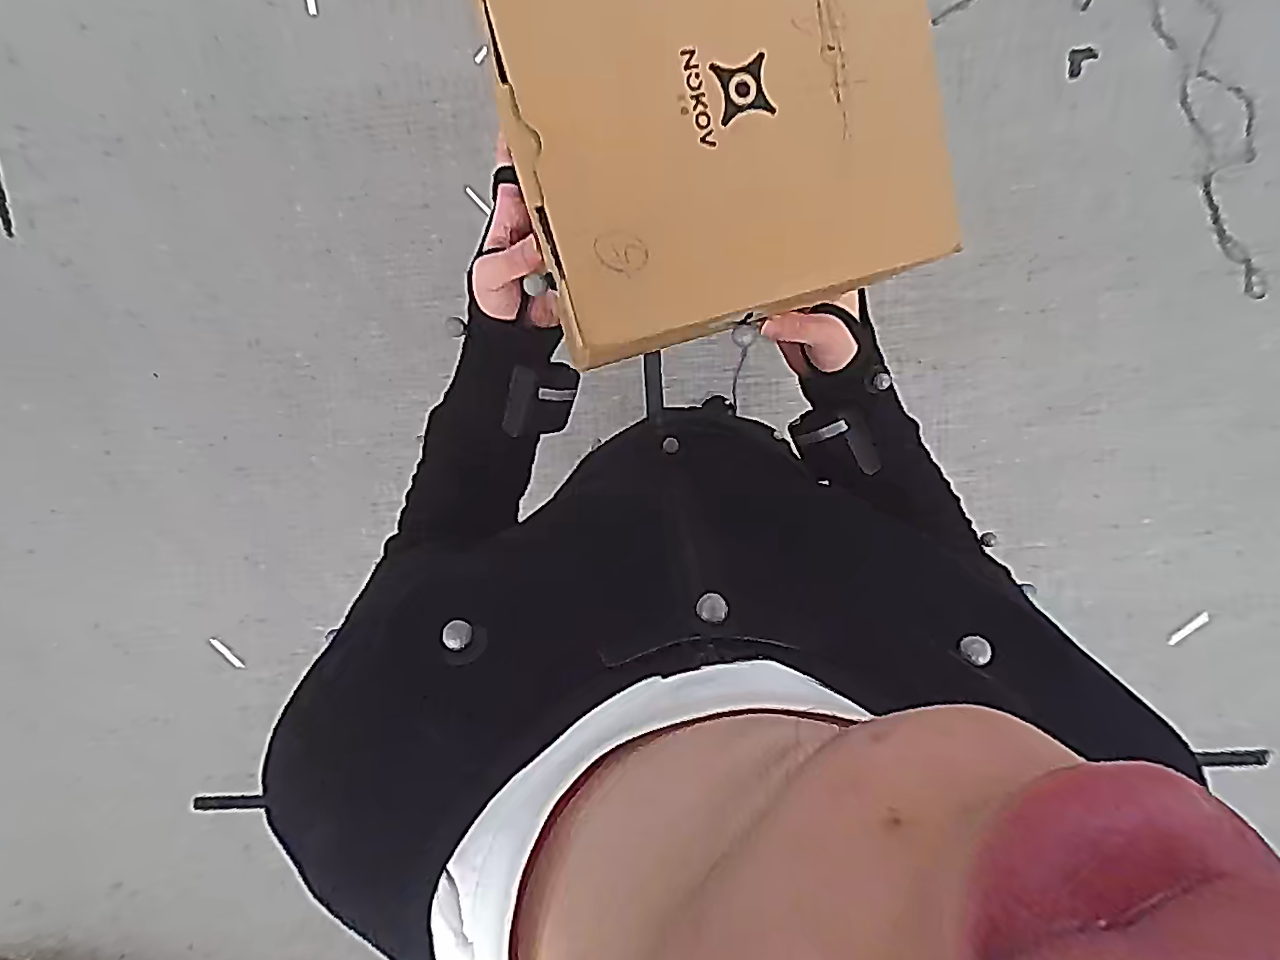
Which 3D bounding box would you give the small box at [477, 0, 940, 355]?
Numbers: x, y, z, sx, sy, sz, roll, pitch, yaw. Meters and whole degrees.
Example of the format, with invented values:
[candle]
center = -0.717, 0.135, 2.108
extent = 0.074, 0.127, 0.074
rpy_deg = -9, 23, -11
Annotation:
[small box]
center = 0.024, -0.175, 0.306
extent = 0.179, 0.176, 0.168
rpy_deg = -17, 101, -6
